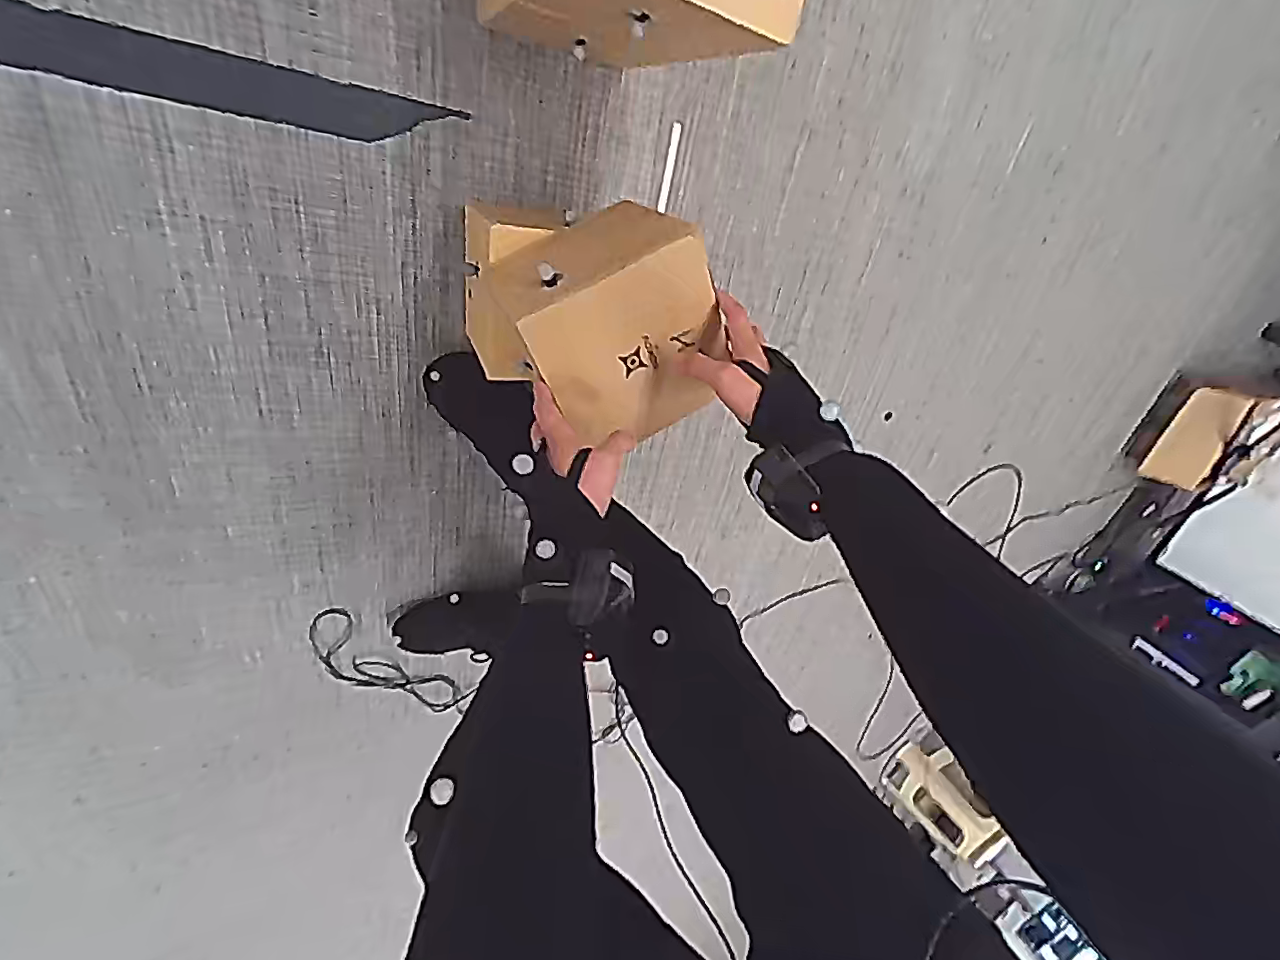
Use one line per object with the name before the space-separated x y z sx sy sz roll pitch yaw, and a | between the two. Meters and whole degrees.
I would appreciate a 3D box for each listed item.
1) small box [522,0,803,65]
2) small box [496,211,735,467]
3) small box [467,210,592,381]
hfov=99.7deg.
small box | 0.021 -0.427 0.392 0.179 0.176 0.168 -1 121 -27
small box | -0.032 -0.150 0.554 0.179 0.176 0.168 -29 131 -7
small box | -0.115 -0.230 0.674 0.179 0.176 0.168 -6 124 -25
